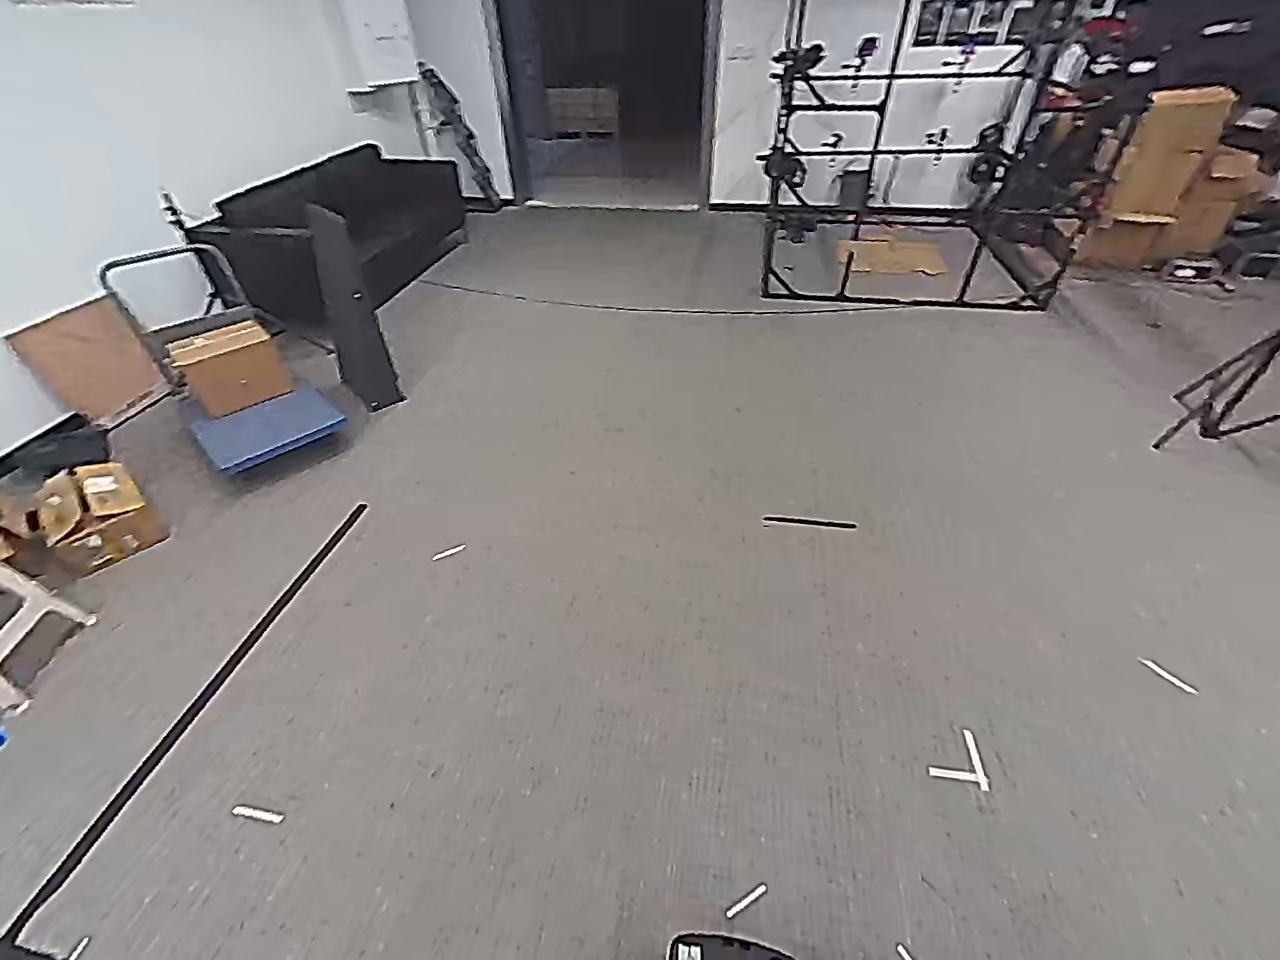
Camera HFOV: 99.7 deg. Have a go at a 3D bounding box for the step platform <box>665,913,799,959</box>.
[{"bbox_3d":[0.160,1.239,0.997,0.286,0.204,0.684,4,40,7],"label":"step platform"}]
